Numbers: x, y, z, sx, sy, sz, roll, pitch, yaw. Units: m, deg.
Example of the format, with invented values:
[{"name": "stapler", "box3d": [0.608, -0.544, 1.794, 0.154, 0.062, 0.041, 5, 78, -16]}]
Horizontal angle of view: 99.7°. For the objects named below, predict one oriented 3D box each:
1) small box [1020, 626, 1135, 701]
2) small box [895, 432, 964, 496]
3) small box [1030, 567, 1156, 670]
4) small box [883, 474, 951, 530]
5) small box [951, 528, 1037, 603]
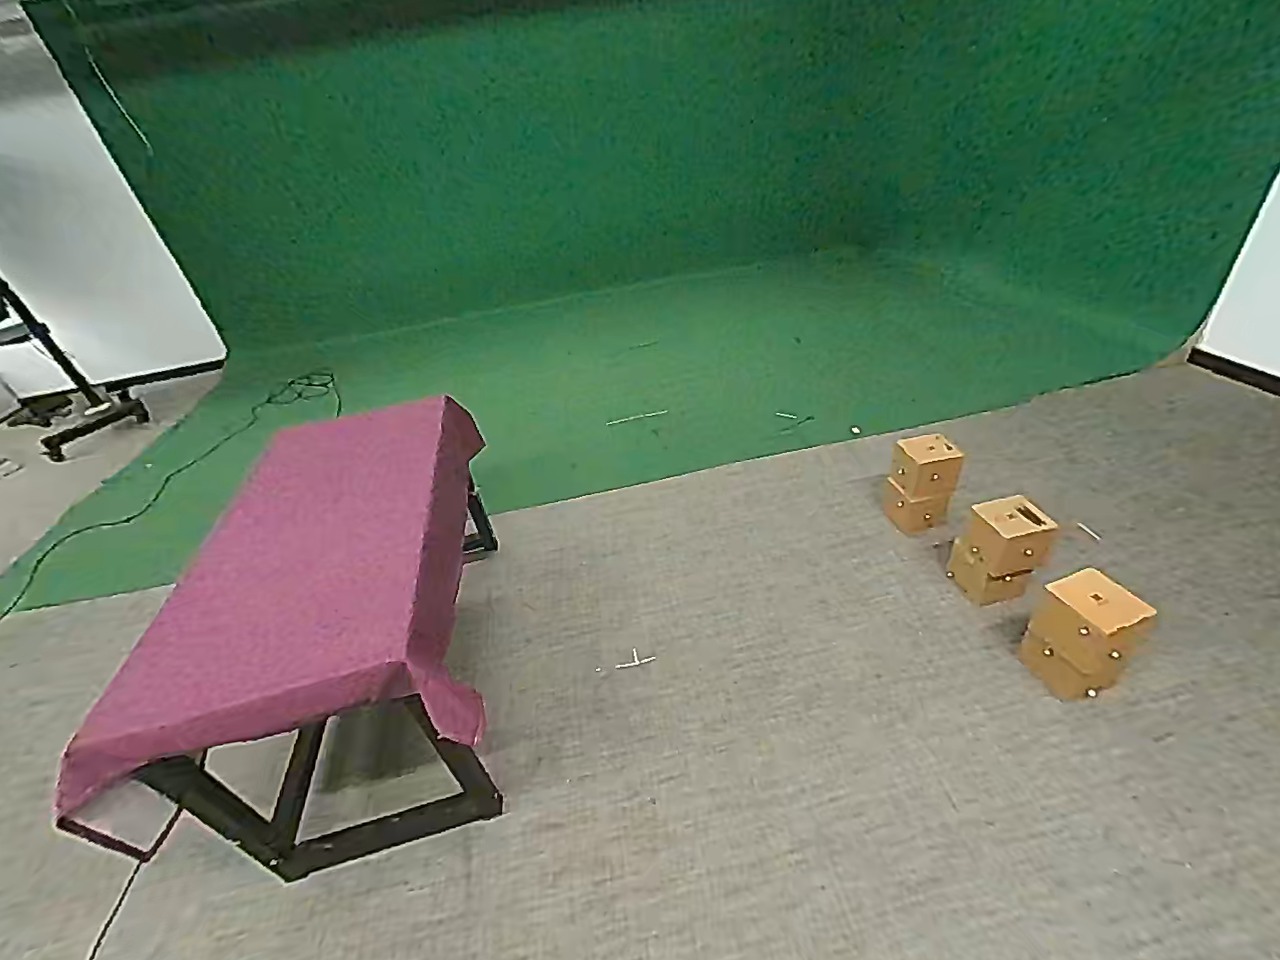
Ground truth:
[{"name": "small box", "box3d": [1.237, 0.495, 1.547, 0.168, 0.176, 0.179, -15, 37, -5]}, {"name": "small box", "box3d": [1.089, -0.056, 2.052, 0.179, 0.176, 0.168, -11, 36, -1]}, {"name": "small box", "box3d": [1.199, 0.371, 1.448, 0.168, 0.176, 0.179, -18, 37, -9]}, {"name": "small box", "box3d": [1.094, 0.080, 2.146, 0.168, 0.176, 0.179, -13, 36, -5]}, {"name": "small box", "box3d": [1.186, 0.293, 1.833, 0.179, 0.176, 0.168, -12, 36, -4]}]
